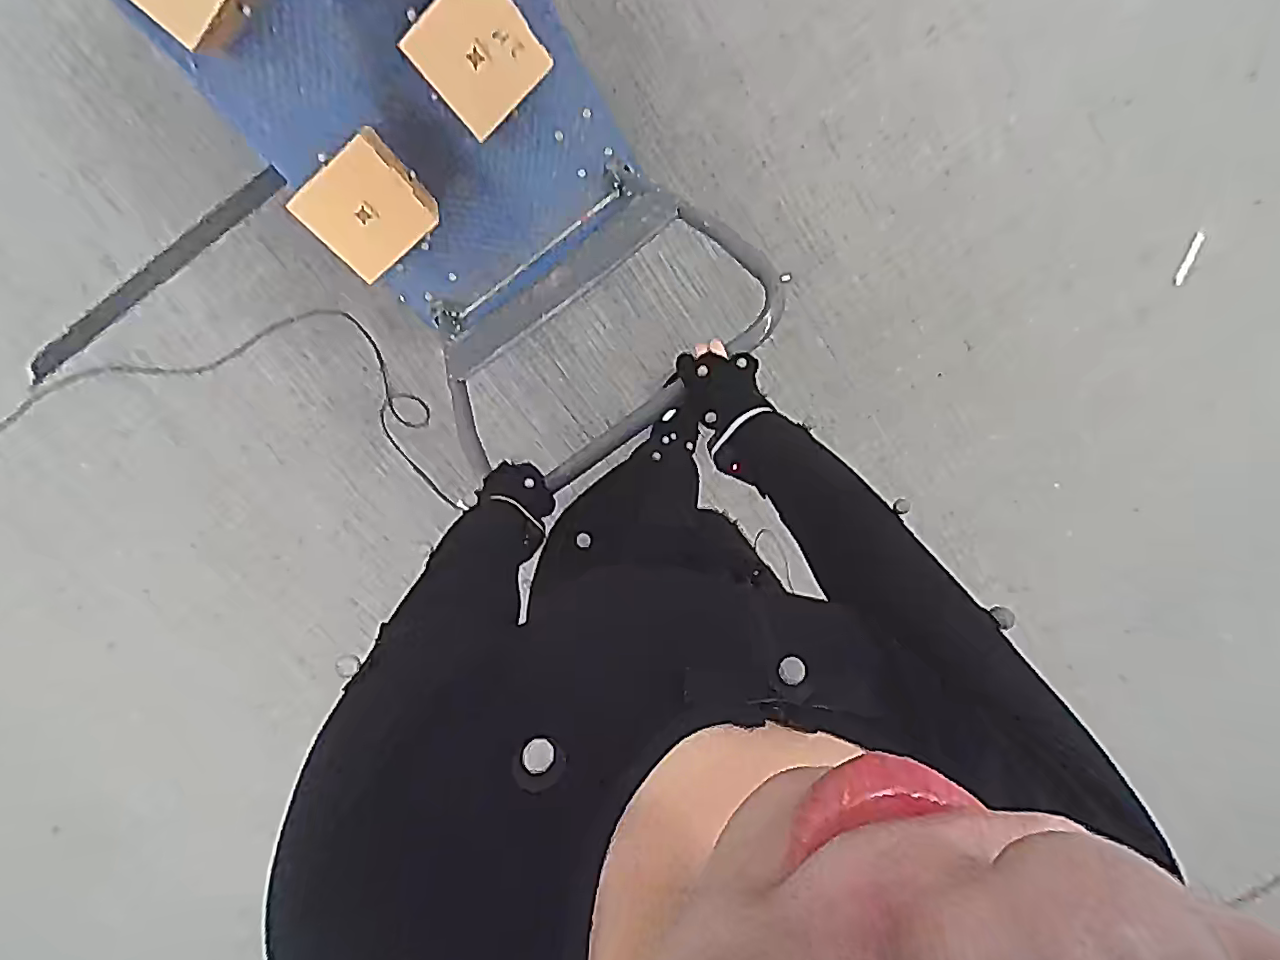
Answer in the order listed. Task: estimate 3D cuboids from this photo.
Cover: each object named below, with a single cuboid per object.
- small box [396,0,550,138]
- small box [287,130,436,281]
[{"bbox_3d":[-0.276,-0.713,0.904,0.179,0.176,0.168,-40,129,11],"label":"small box"},{"bbox_3d":[-0.492,-0.500,0.982,0.179,0.176,0.168,-39,129,7],"label":"small box"}]
